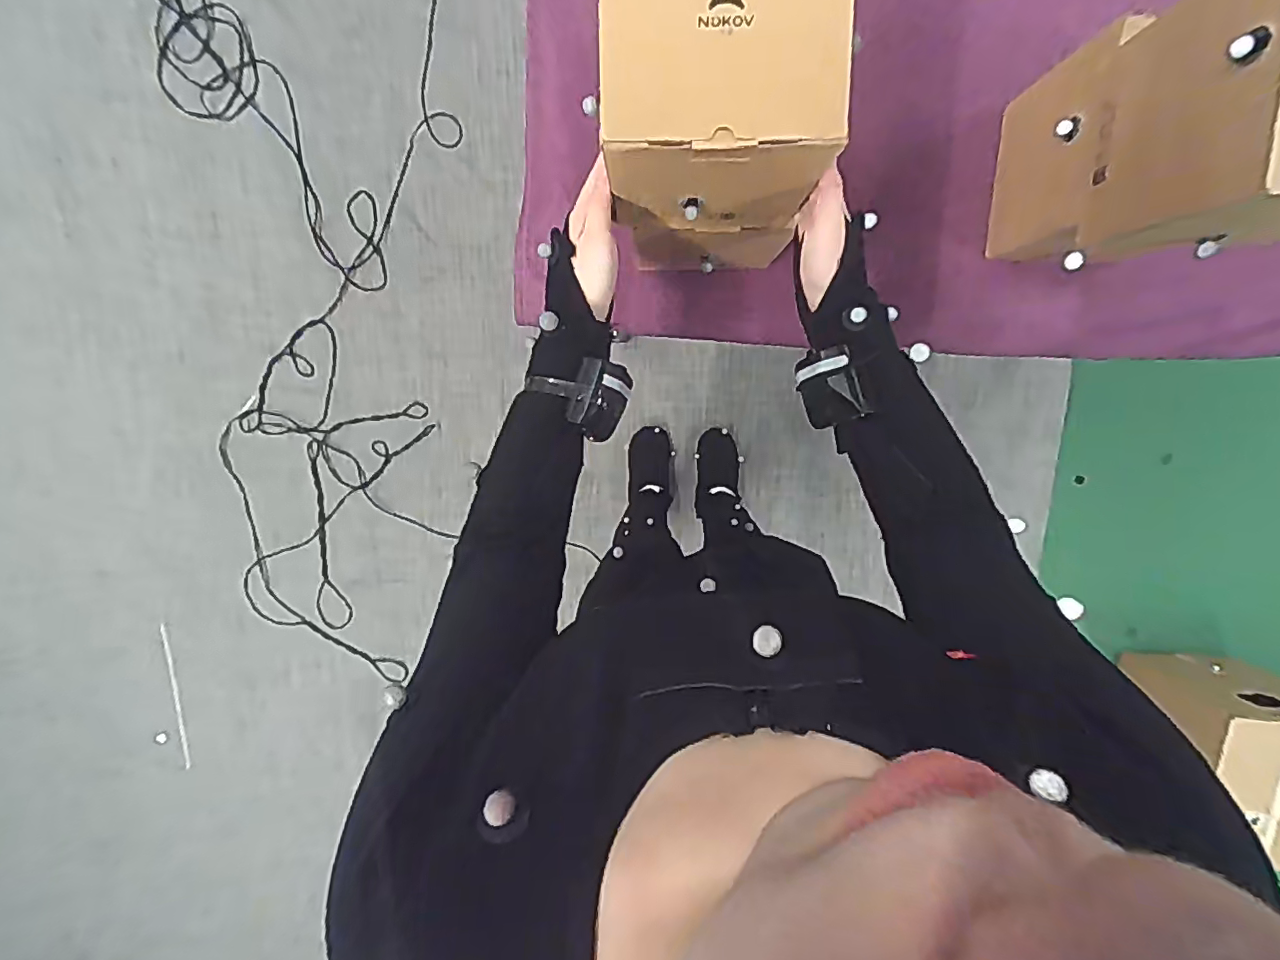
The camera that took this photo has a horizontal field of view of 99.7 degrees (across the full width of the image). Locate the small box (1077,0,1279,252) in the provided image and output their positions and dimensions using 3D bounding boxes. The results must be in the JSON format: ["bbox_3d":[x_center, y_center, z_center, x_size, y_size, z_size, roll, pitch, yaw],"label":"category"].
[{"bbox_3d":[0.495,-0.281,0.415,0.179,0.176,0.168,-1,100,2],"label":"small box"}]

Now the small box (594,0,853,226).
[{"bbox_3d":[0.052,-0.317,0.418,0.168,0.176,0.179,1,98,0],"label":"small box"}]

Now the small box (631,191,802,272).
[{"bbox_3d":[0.073,-0.335,0.580,0.168,0.176,0.179,0,99,2],"label":"small box"}]

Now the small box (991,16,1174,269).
[{"bbox_3d":[0.508,-0.336,0.571,0.168,0.176,0.179,2,100,1],"label":"small box"}]

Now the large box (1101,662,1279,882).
[{"bbox_3d":[1.497,0.729,1.398,0.320,0.320,0.408,3,101,1],"label":"large box"}]
